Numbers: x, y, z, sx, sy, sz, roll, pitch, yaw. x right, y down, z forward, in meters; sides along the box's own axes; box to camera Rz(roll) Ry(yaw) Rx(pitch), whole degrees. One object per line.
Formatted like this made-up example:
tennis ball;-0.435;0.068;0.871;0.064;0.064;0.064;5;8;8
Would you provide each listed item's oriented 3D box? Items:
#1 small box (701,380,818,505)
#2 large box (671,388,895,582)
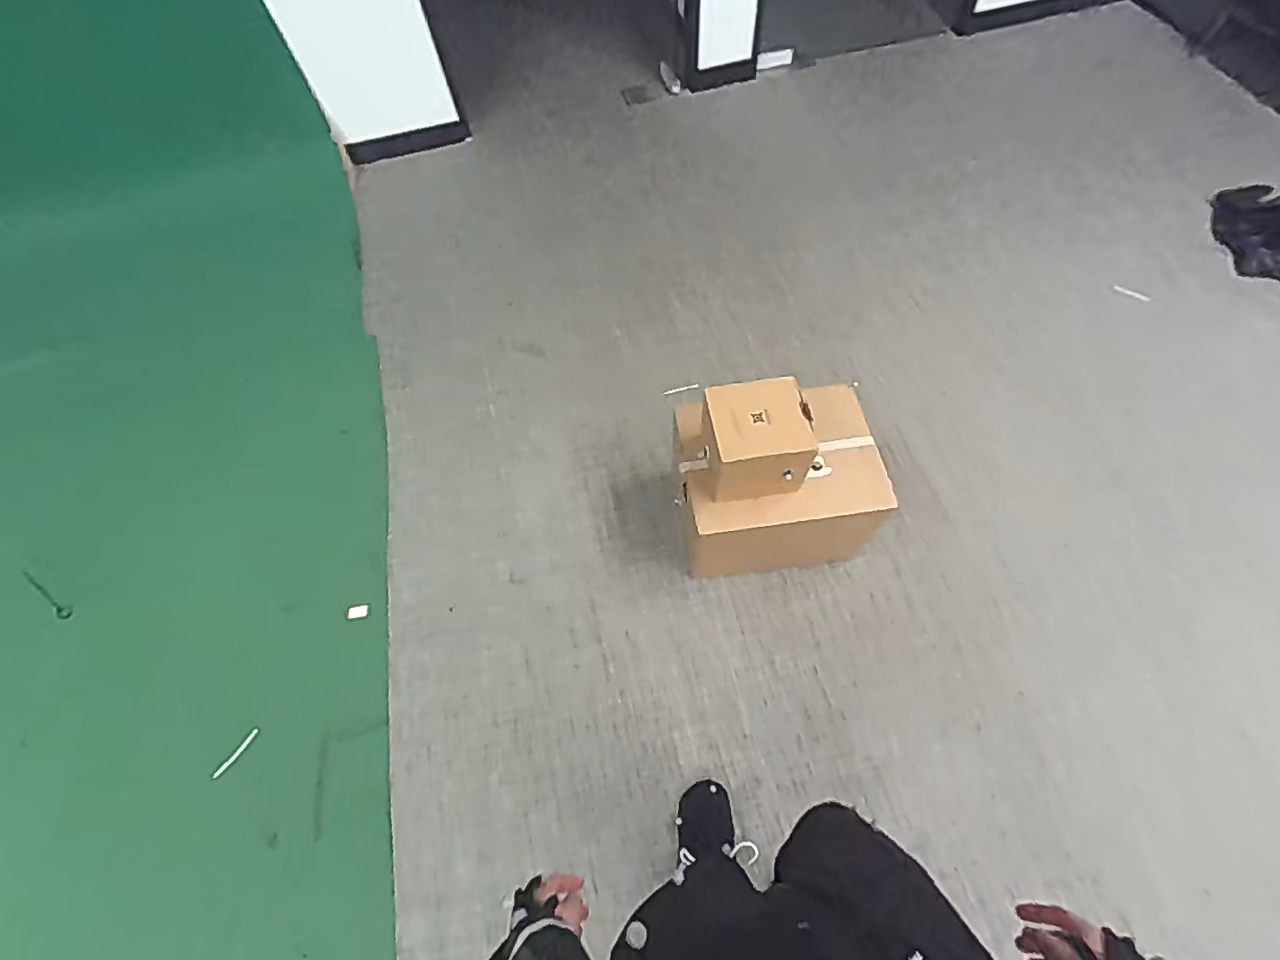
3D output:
small box;0.219;-0.067;1.044;0.179;0.176;0.168;-9;61;-1
large box;0.296;0.024;1.267;0.408;0.320;0.320;-8;64;-2
